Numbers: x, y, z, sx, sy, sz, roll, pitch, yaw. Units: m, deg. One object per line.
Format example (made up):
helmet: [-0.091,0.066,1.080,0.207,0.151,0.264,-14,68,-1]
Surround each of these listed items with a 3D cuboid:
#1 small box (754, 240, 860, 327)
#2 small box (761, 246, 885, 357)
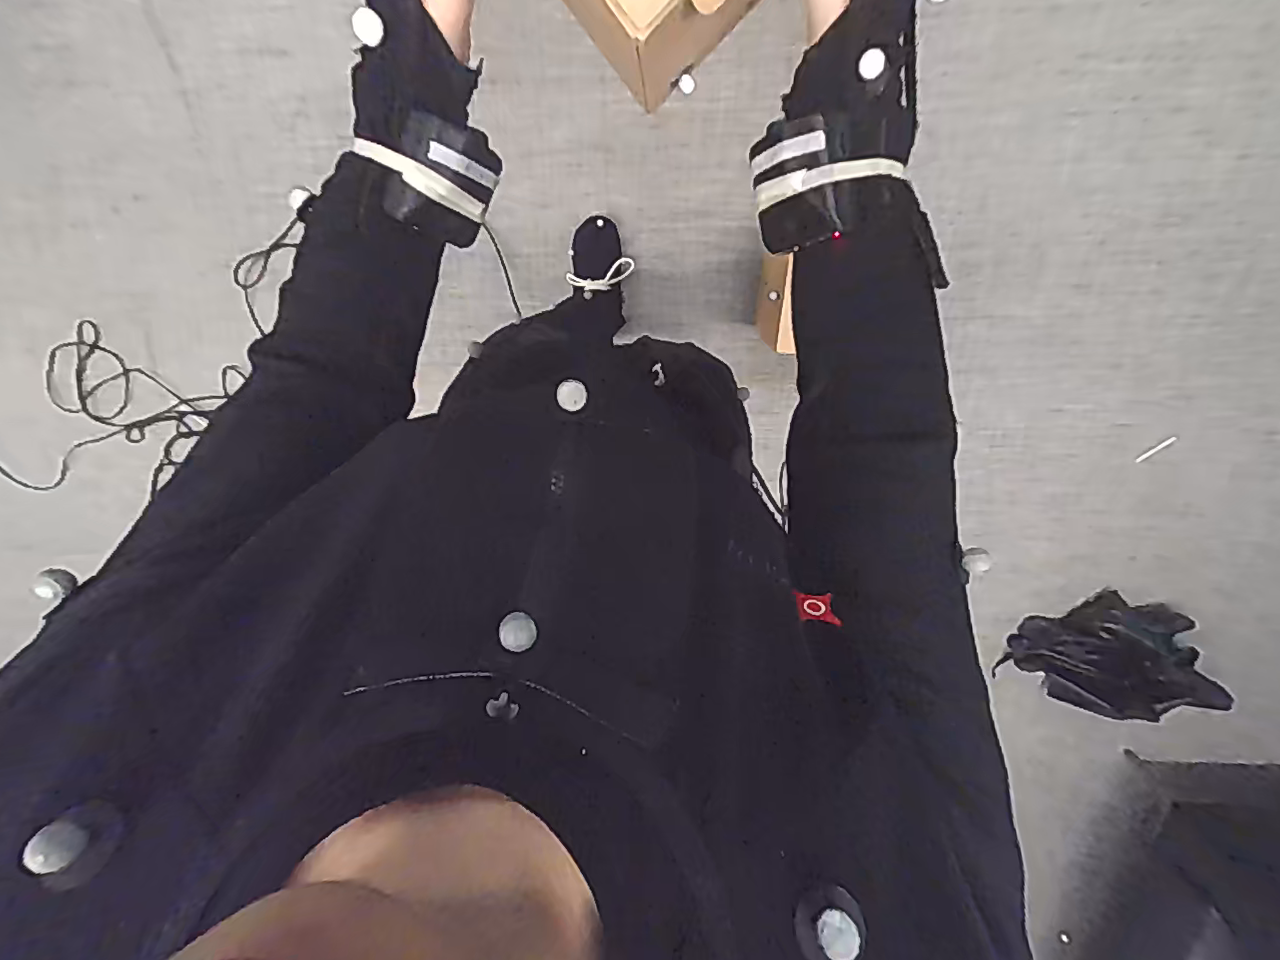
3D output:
small box: [0.345,-0.407,1.152,0.168,0.176,0.179,3,111,1]
small box: [0.327,-0.335,1.005,0.168,0.176,0.179,4,111,1]
